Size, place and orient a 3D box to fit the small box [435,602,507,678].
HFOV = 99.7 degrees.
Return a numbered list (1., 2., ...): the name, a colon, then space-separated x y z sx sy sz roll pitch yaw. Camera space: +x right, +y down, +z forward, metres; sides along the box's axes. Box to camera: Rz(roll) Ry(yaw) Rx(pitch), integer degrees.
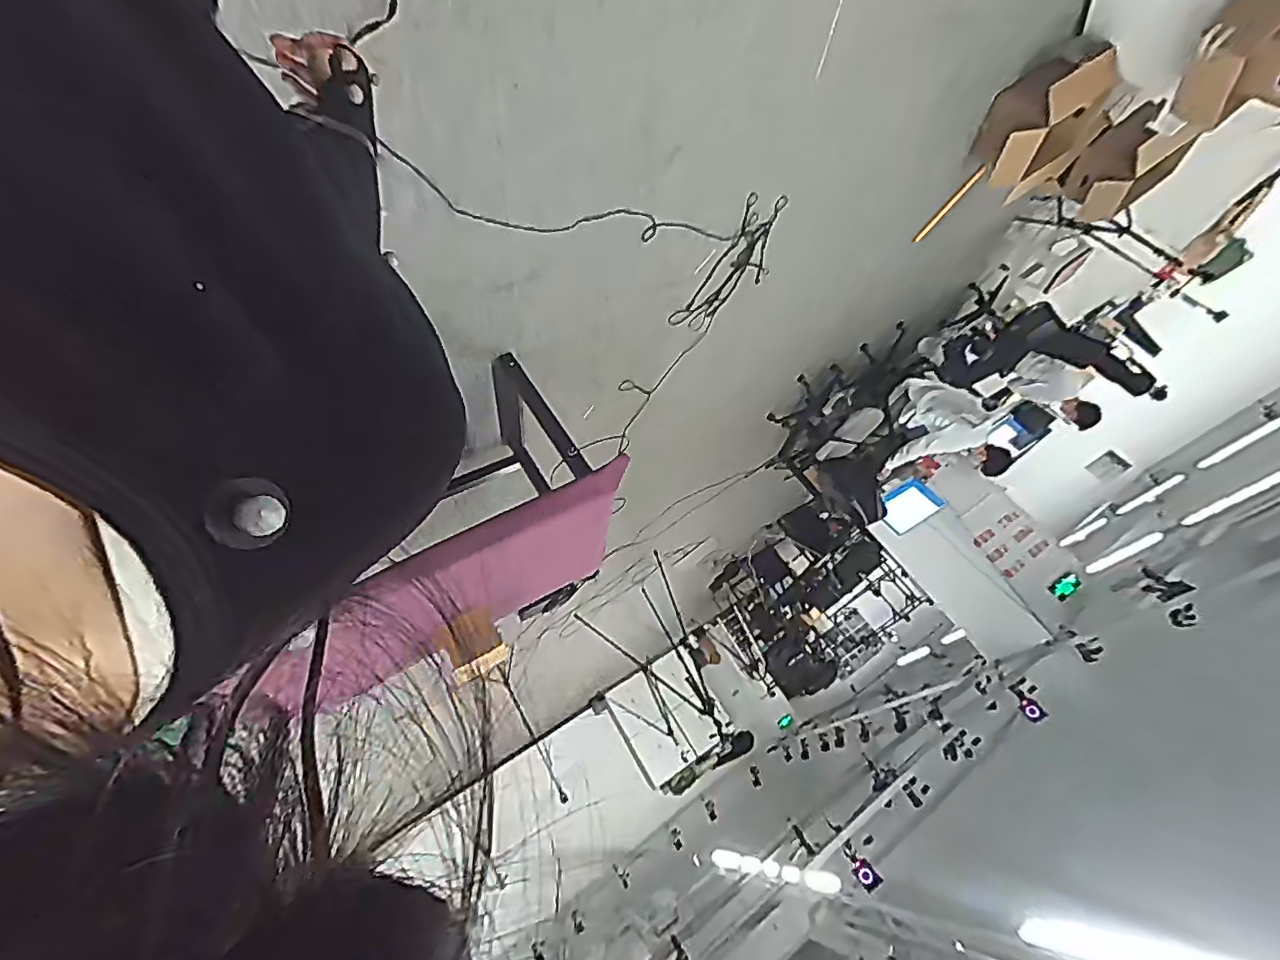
1. small box: -0.586 0.553 1.880 0.179 0.176 0.168 -27 153 -23
